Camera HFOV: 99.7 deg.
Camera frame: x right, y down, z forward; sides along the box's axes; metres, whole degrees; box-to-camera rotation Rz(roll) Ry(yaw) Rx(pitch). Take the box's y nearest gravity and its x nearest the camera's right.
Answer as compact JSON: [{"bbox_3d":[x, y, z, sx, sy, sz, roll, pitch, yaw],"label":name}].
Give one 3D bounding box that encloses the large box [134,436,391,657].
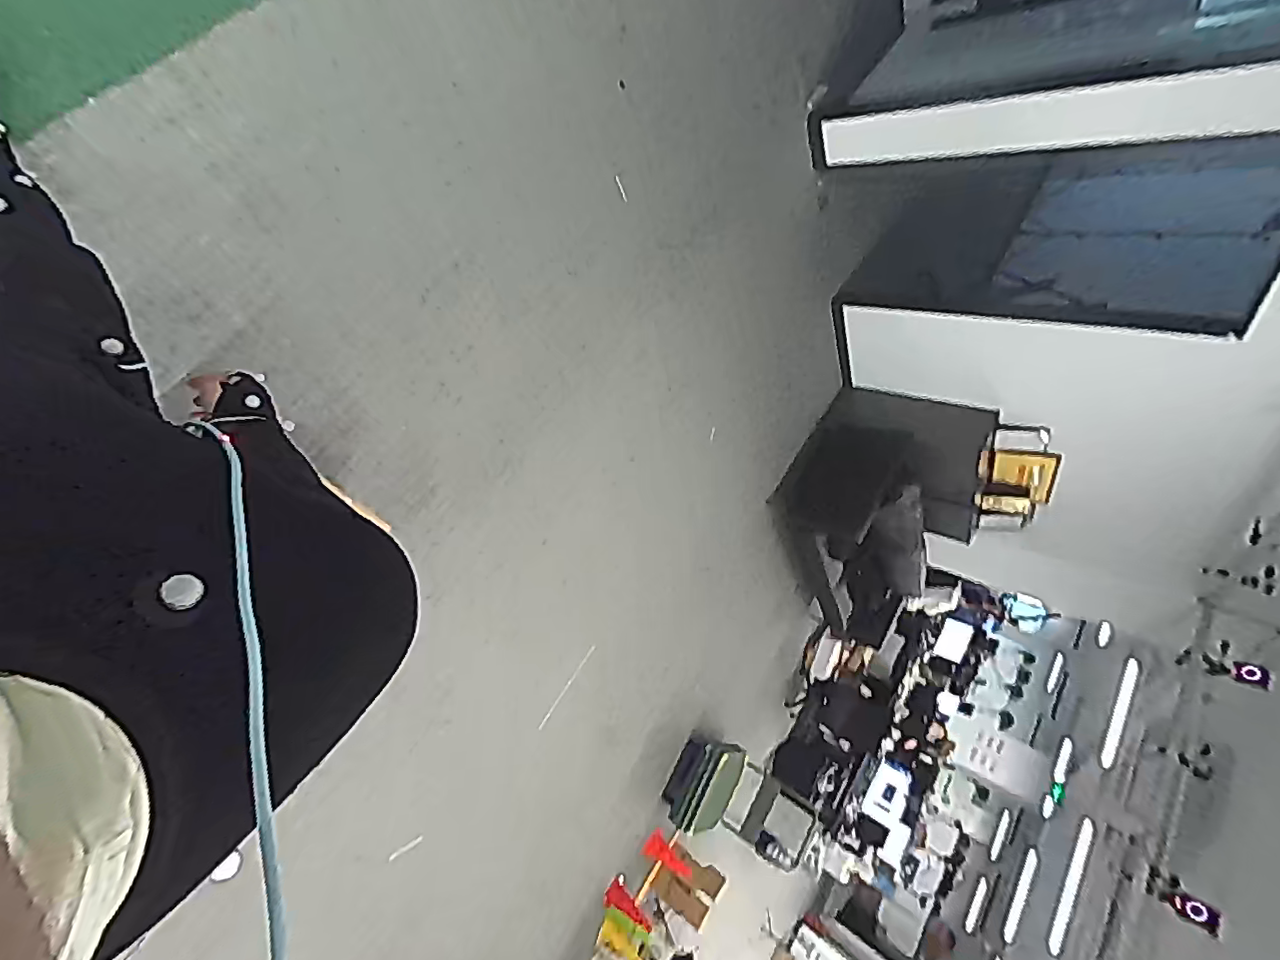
[{"bbox_3d":[-0.938,0.157,1.364,0.408,0.320,0.320,-55,140,-20],"label":"large box"}]
